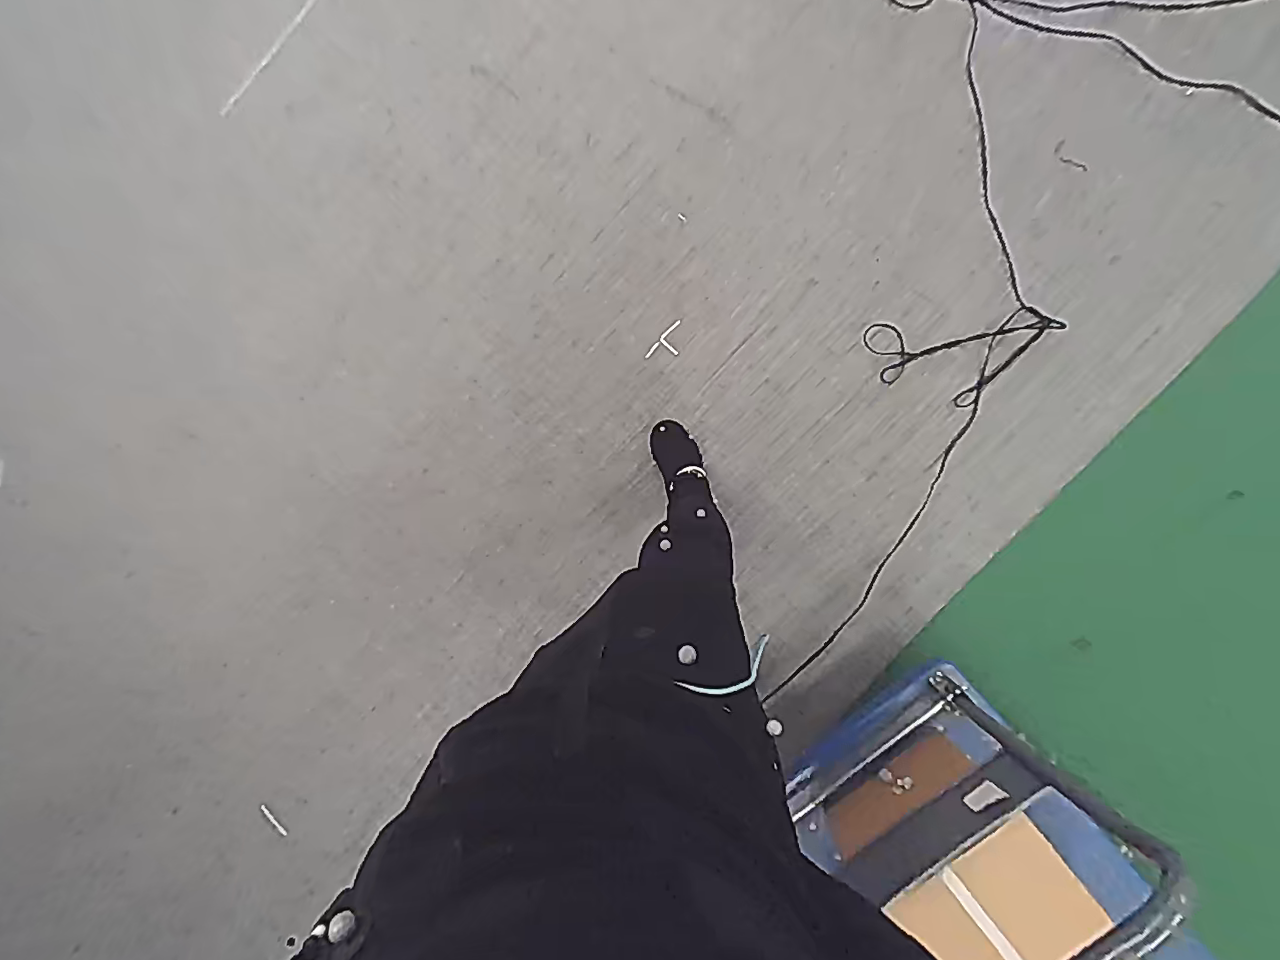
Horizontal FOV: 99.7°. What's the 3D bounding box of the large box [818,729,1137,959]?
[{"bbox_3d":[0.612,0.775,1.017,0.320,0.320,0.408,-38,84,4],"label":"large box"}]
